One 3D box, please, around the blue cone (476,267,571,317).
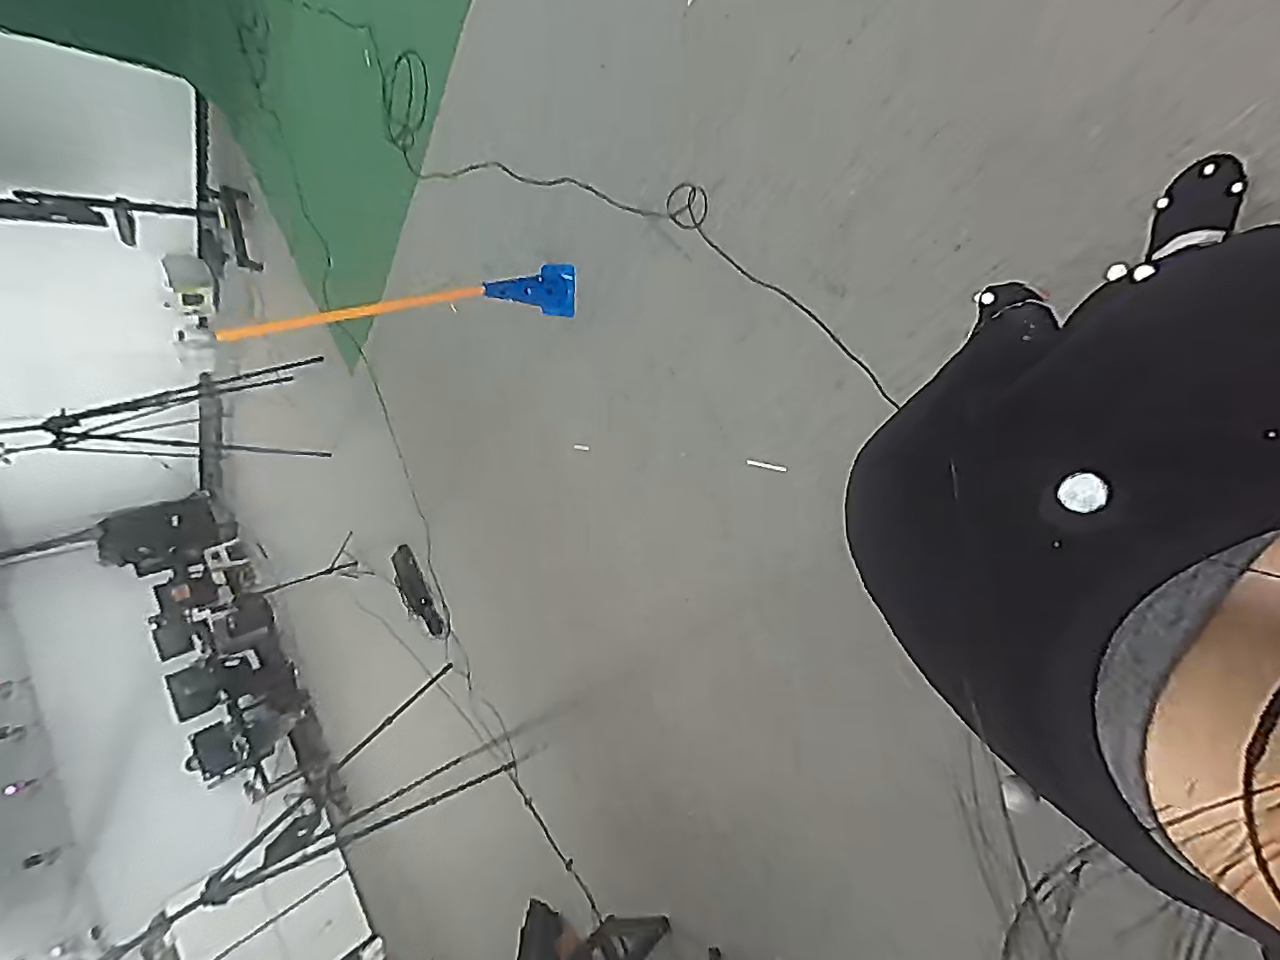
[{"bbox_3d":[-0.452,-0.717,2.075,0.192,0.380,0.193,17,116,38],"label":"blue cone"}]
